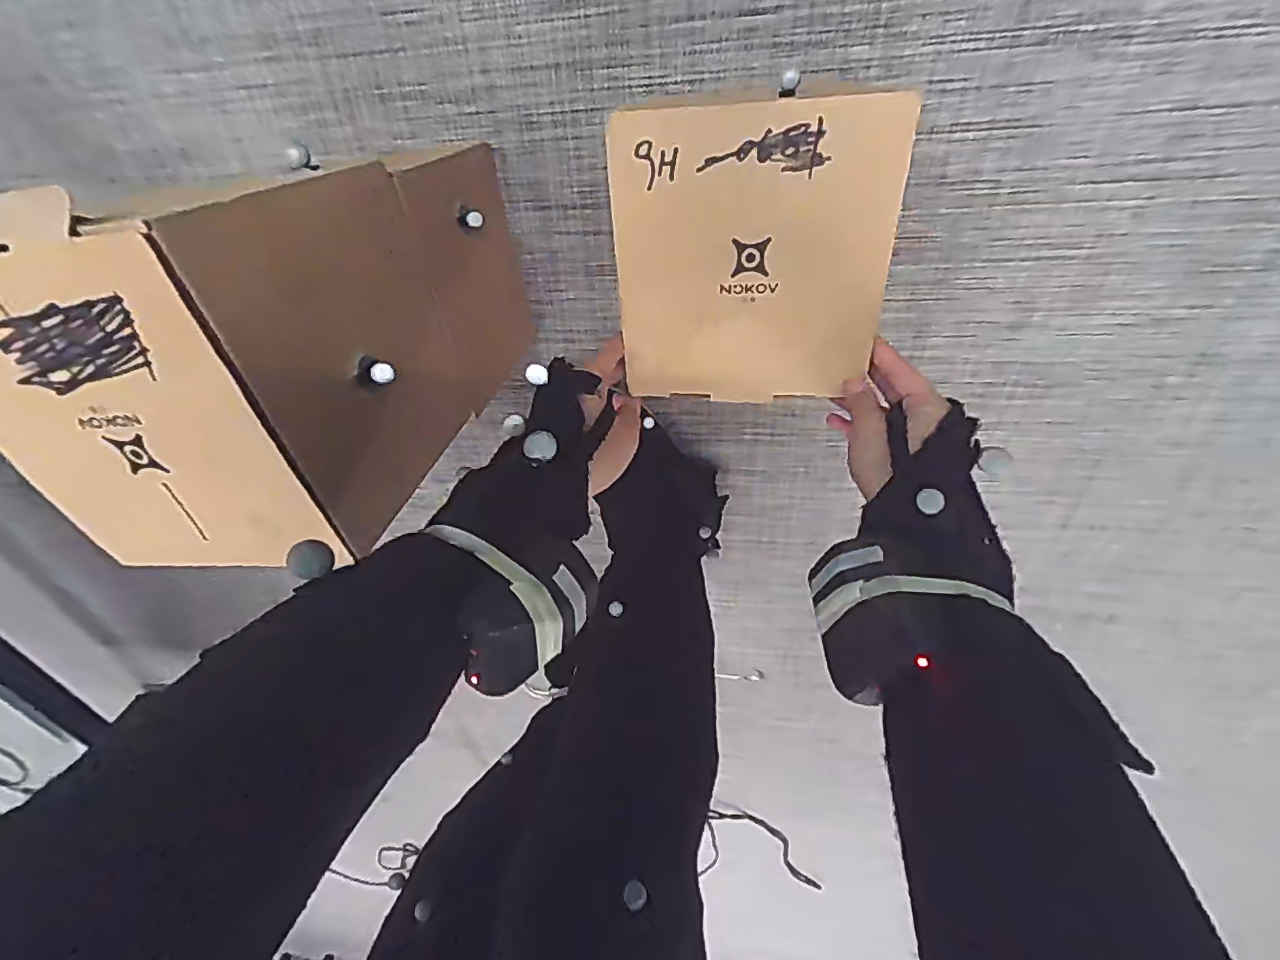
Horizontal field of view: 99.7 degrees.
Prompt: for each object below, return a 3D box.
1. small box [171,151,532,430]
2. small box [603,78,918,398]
[{"bbox_3d":[-0.206,-0.161,0.449,0.168,0.176,0.179,-1,127,11],"label":"small box"},{"bbox_3d":[0.074,-0.177,0.394,0.168,0.176,0.179,1,128,7],"label":"small box"}]
